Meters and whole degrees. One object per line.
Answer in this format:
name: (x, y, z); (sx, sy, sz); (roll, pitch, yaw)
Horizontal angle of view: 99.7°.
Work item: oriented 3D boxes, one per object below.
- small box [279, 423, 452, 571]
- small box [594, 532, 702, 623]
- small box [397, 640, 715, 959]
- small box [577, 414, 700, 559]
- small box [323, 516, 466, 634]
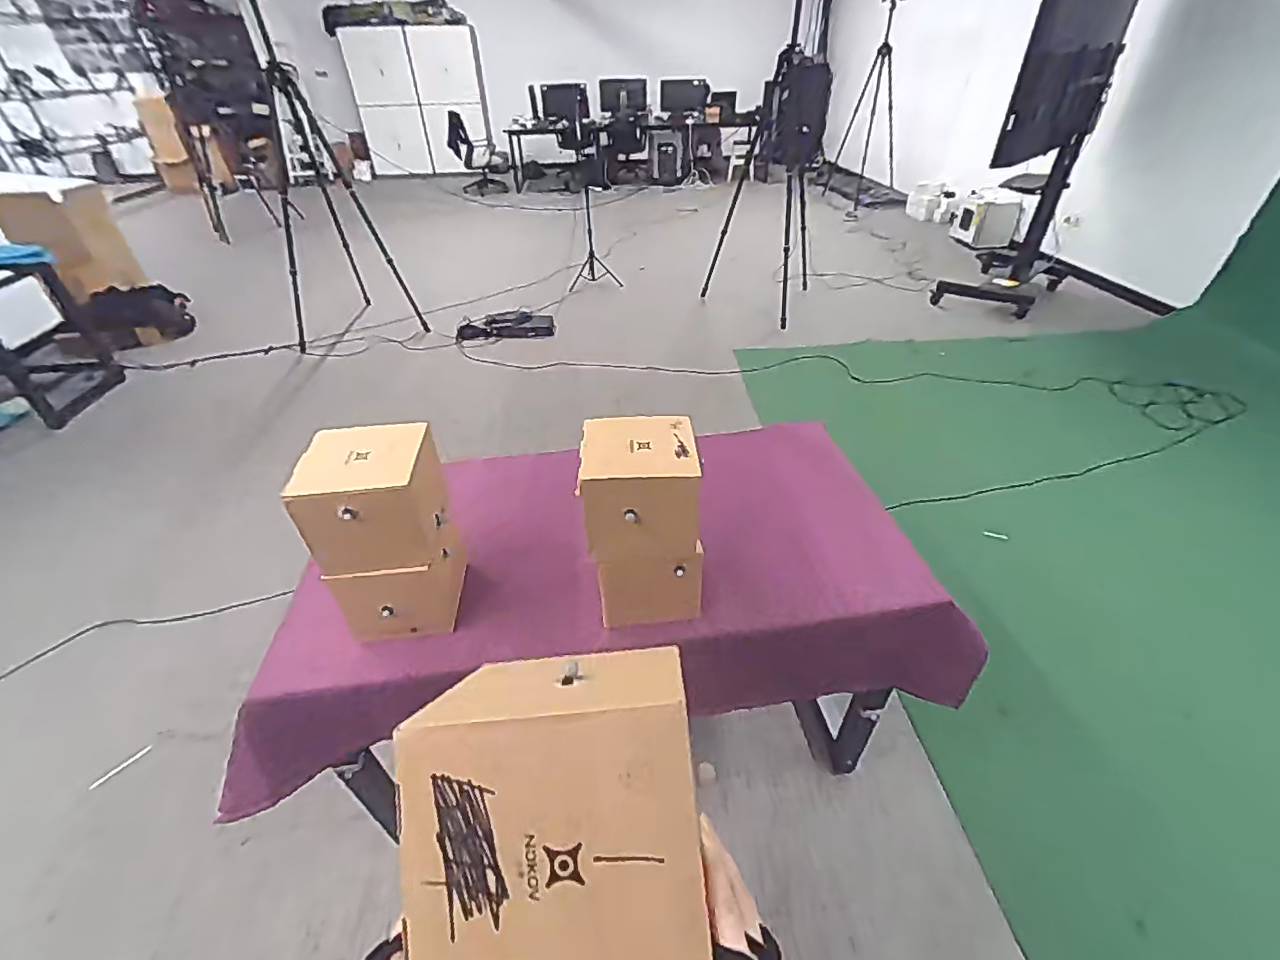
small box: (-0.416, 0.029, 0.855); (0.179, 0.176, 0.168); (-5, 40, -4)
small box: (0.010, 0.138, 0.966); (0.179, 0.176, 0.168); (-5, 39, -4)
small box: (-0.046, 0.218, 0.386); (0.179, 0.168, 0.176); (-6, -5, 2)
small box: (0.000, 0.012, 0.860); (0.179, 0.176, 0.168); (-3, 39, -1)
small box: (-0.417, 0.157, 0.956); (0.168, 0.176, 0.179); (-4, 38, -3)
